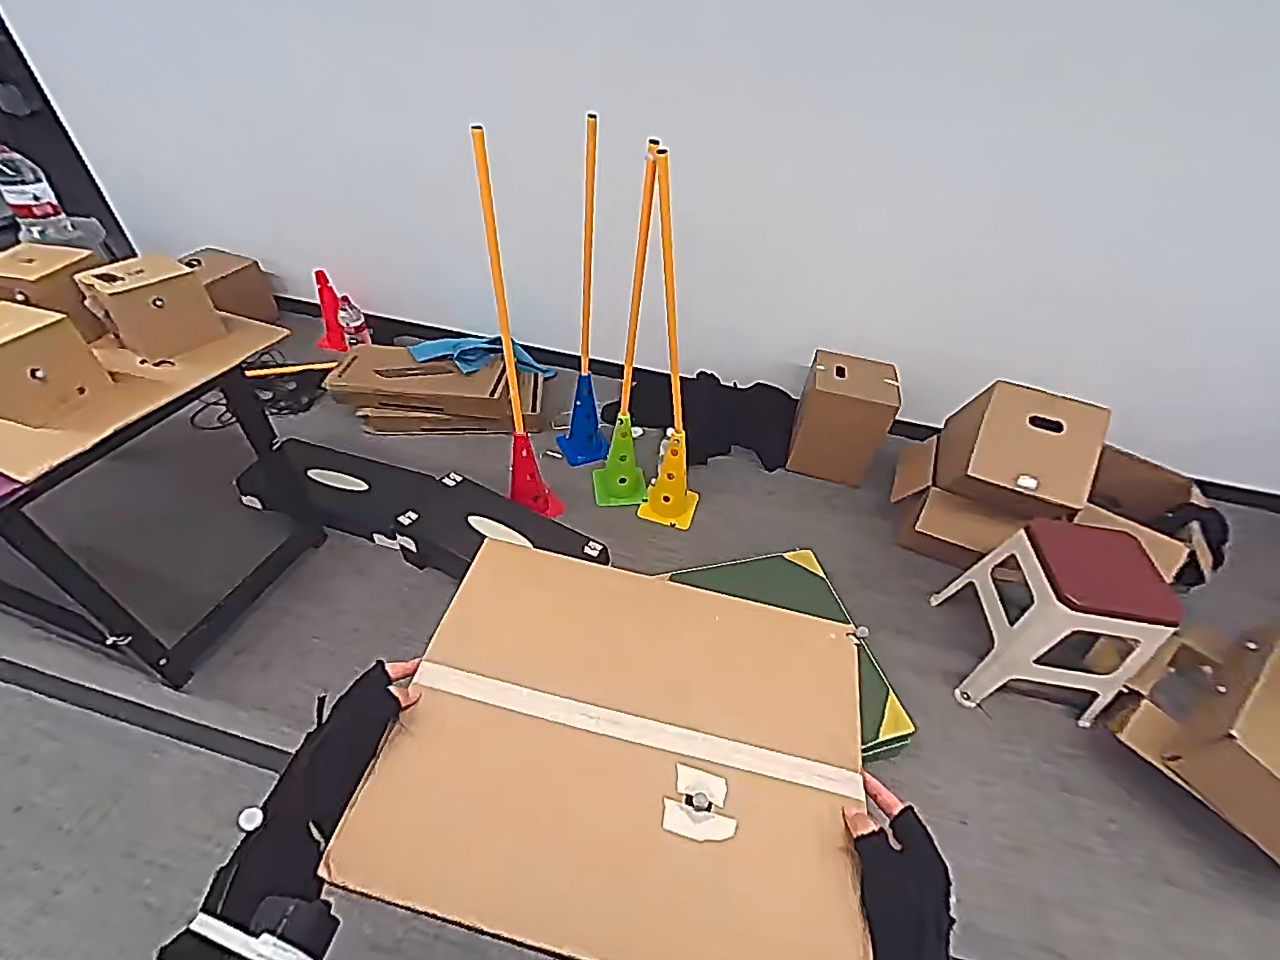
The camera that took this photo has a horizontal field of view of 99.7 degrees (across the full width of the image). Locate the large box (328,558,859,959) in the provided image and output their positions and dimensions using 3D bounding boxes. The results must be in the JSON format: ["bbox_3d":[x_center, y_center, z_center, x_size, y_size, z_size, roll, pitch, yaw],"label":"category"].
[{"bbox_3d":[-0.025,0.333,0.593,0.408,0.320,0.320,13,49,4],"label":"large box"}]
